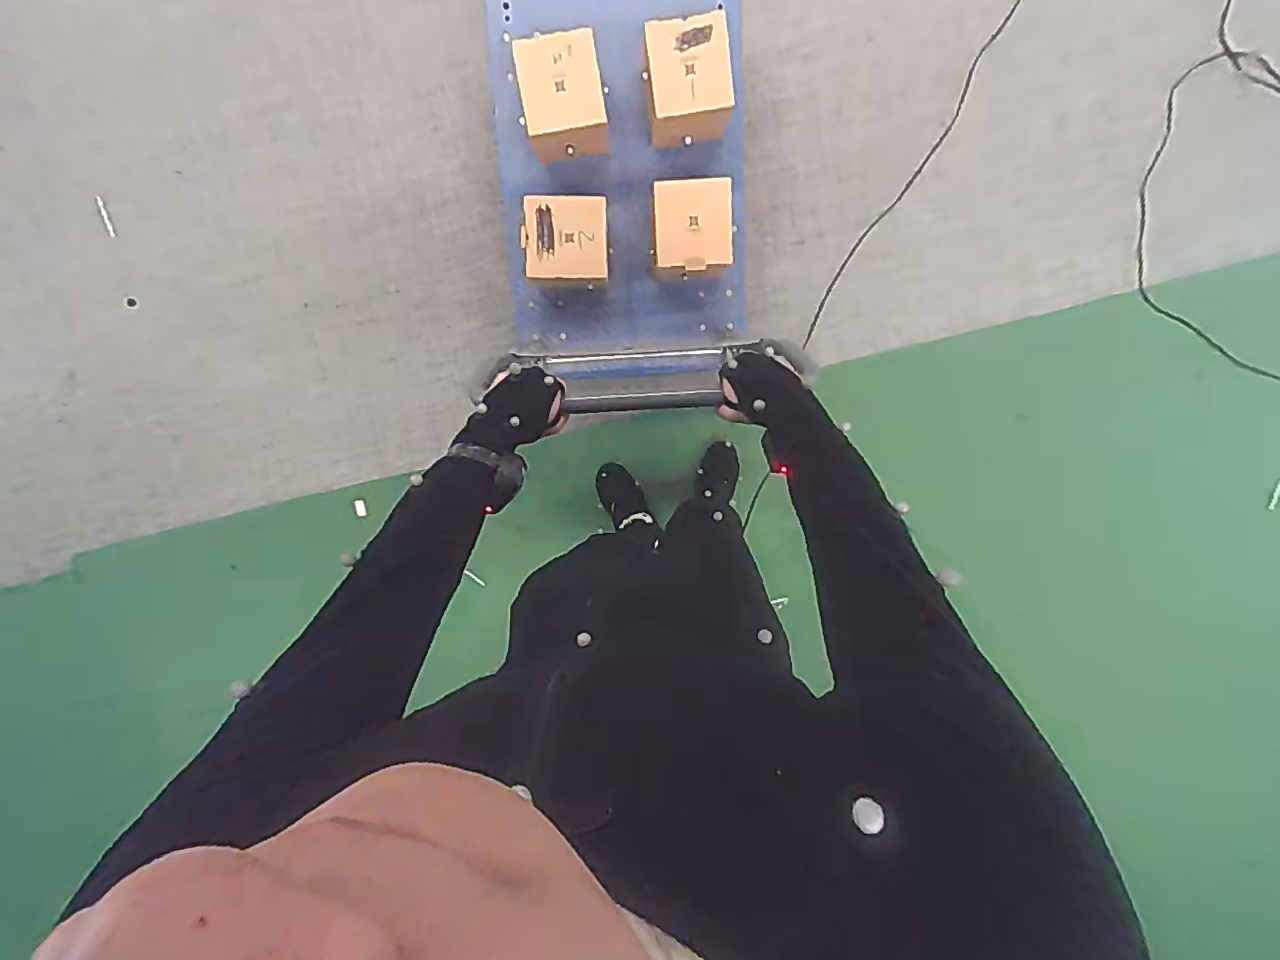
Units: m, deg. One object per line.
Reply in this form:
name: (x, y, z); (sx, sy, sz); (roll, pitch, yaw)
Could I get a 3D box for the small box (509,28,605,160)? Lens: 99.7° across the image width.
small box: (-0.170, -0.818, 1.168); (0.168, 0.176, 0.179); (-10, 102, 0)

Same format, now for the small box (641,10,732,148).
small box: (0.094, -0.855, 1.169); (0.168, 0.176, 0.179); (-9, 103, 1)

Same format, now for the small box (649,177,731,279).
small box: (0.110, -0.566, 1.231); (0.168, 0.176, 0.179); (-4, 103, -1)
